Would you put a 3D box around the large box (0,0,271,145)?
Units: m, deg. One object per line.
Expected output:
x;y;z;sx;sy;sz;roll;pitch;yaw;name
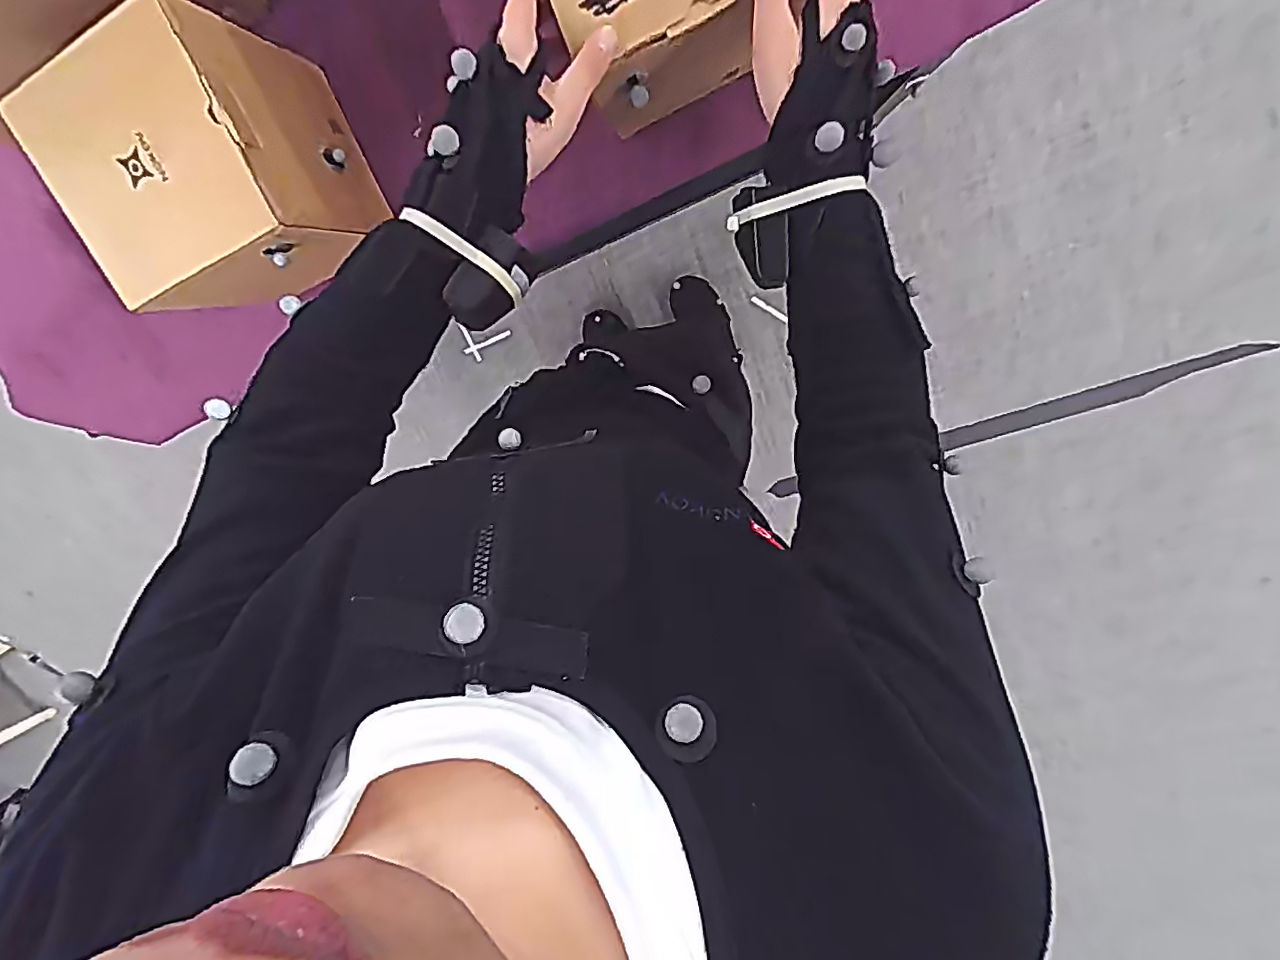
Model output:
-0.573;-0.516;0.352;0.320;0.320;0.408;-17;111;15;large box
